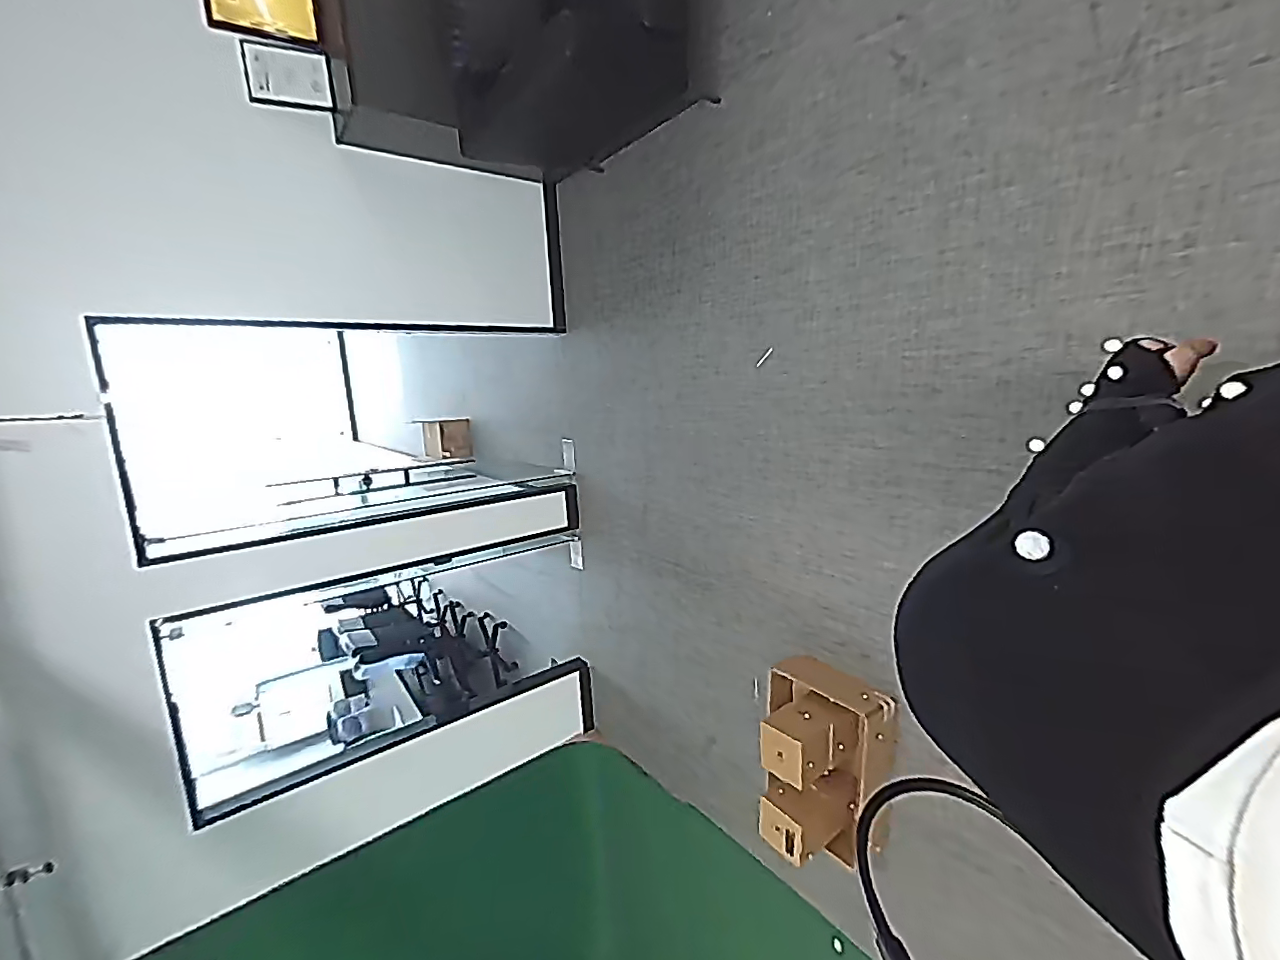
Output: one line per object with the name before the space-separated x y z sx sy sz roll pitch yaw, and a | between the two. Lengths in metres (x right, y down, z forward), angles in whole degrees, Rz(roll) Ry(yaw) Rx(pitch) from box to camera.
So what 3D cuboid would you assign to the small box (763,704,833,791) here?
small box | 0.536 0.898 1.830 0.168 0.176 0.179 10 106 51
